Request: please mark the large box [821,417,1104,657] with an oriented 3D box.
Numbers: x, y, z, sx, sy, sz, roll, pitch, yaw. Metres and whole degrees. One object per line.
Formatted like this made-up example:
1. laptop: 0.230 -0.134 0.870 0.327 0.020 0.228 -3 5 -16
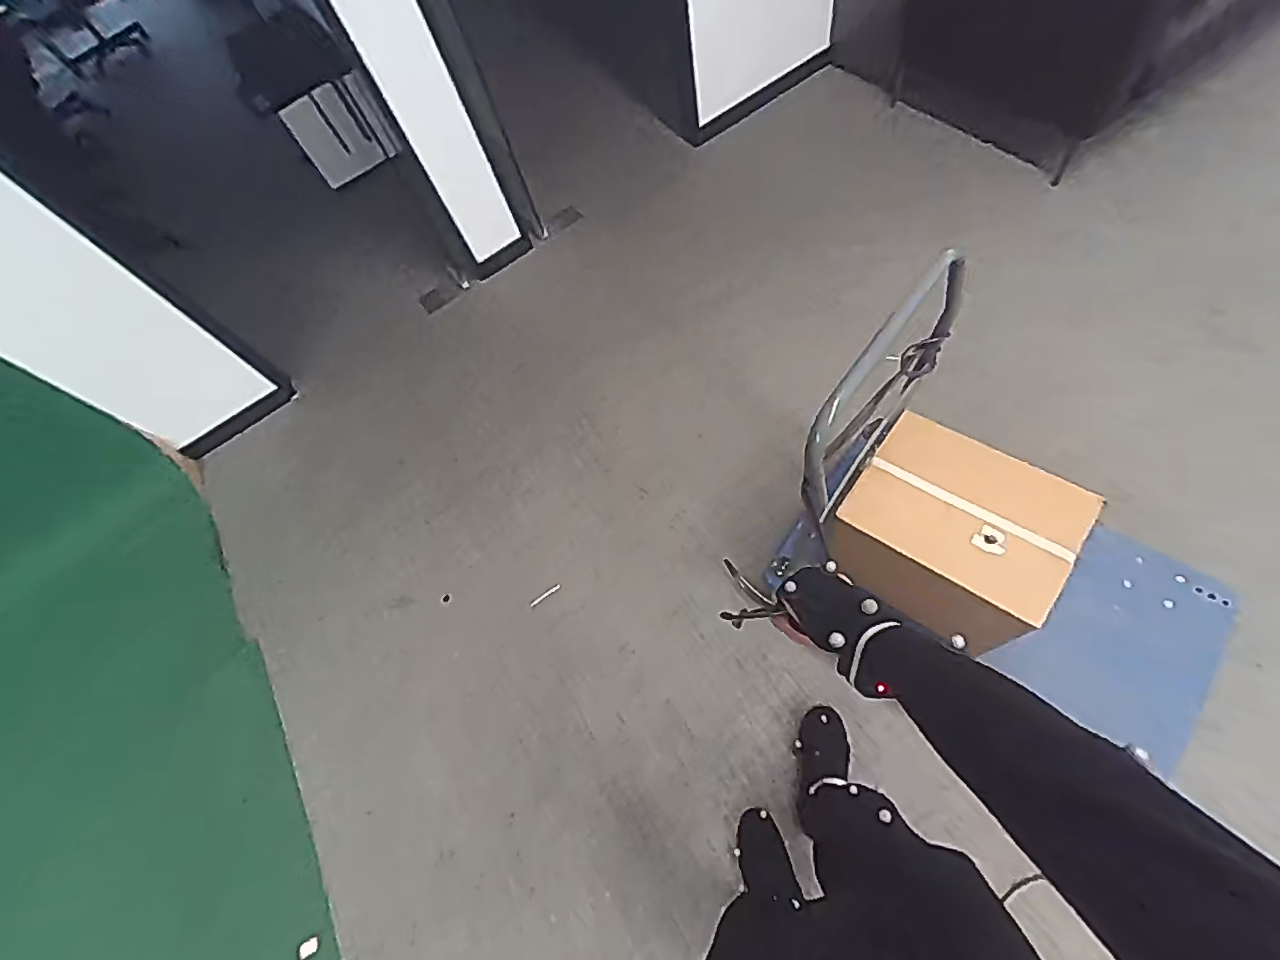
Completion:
1. large box: 0.676 0.131 1.210 0.408 0.320 0.320 32 74 24
